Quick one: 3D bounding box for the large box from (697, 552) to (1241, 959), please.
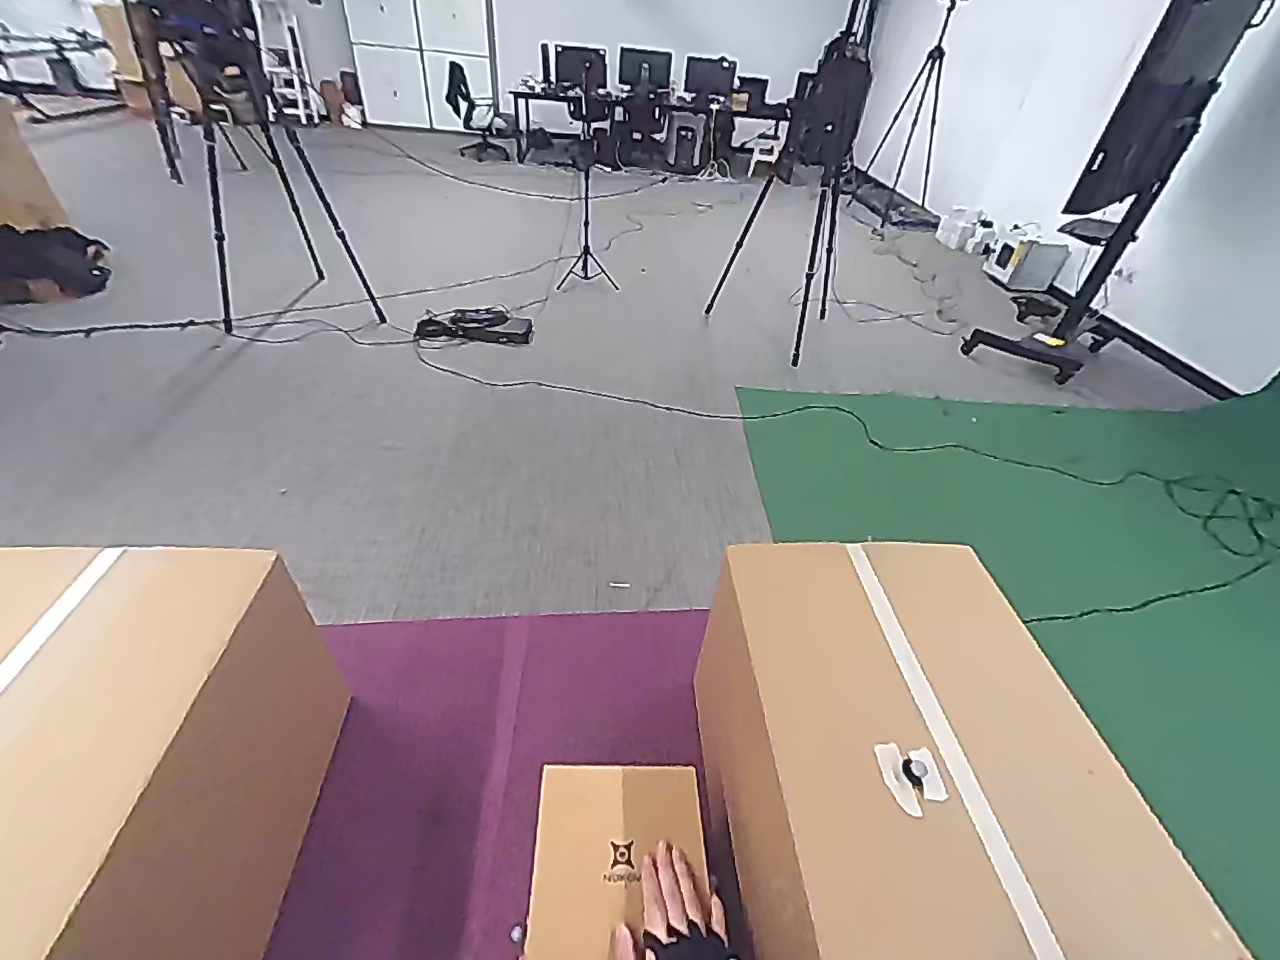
[{"bbox_3d":[0.263,0.335,0.615,0.320,0.320,0.408,2,41,-5],"label":"large box"}]
